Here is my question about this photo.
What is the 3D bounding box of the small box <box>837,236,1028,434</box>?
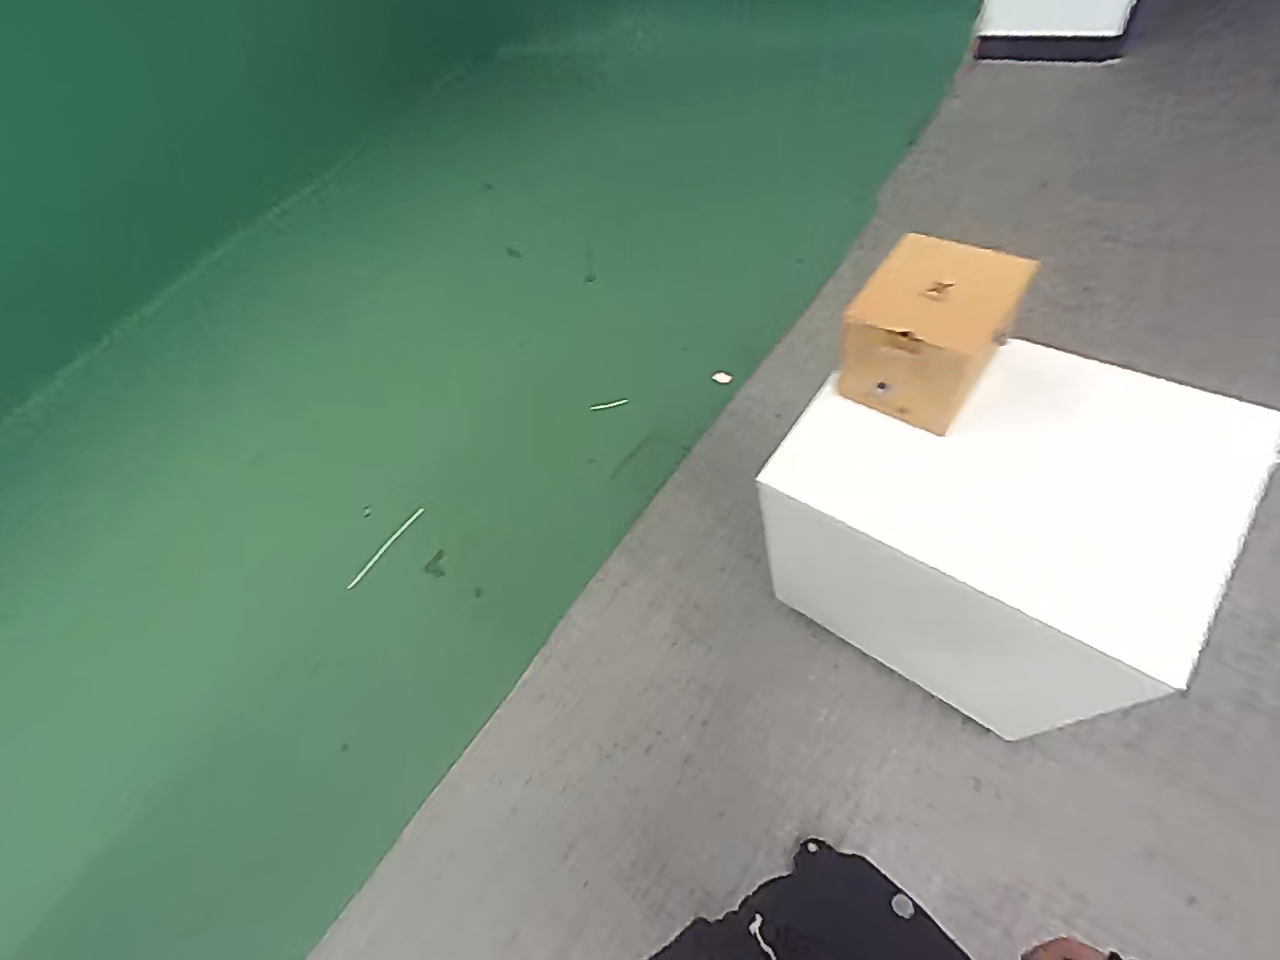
[{"bbox_3d":[0.392,-0.199,0.759,0.168,0.176,0.179,31,73,28],"label":"small box"}]
